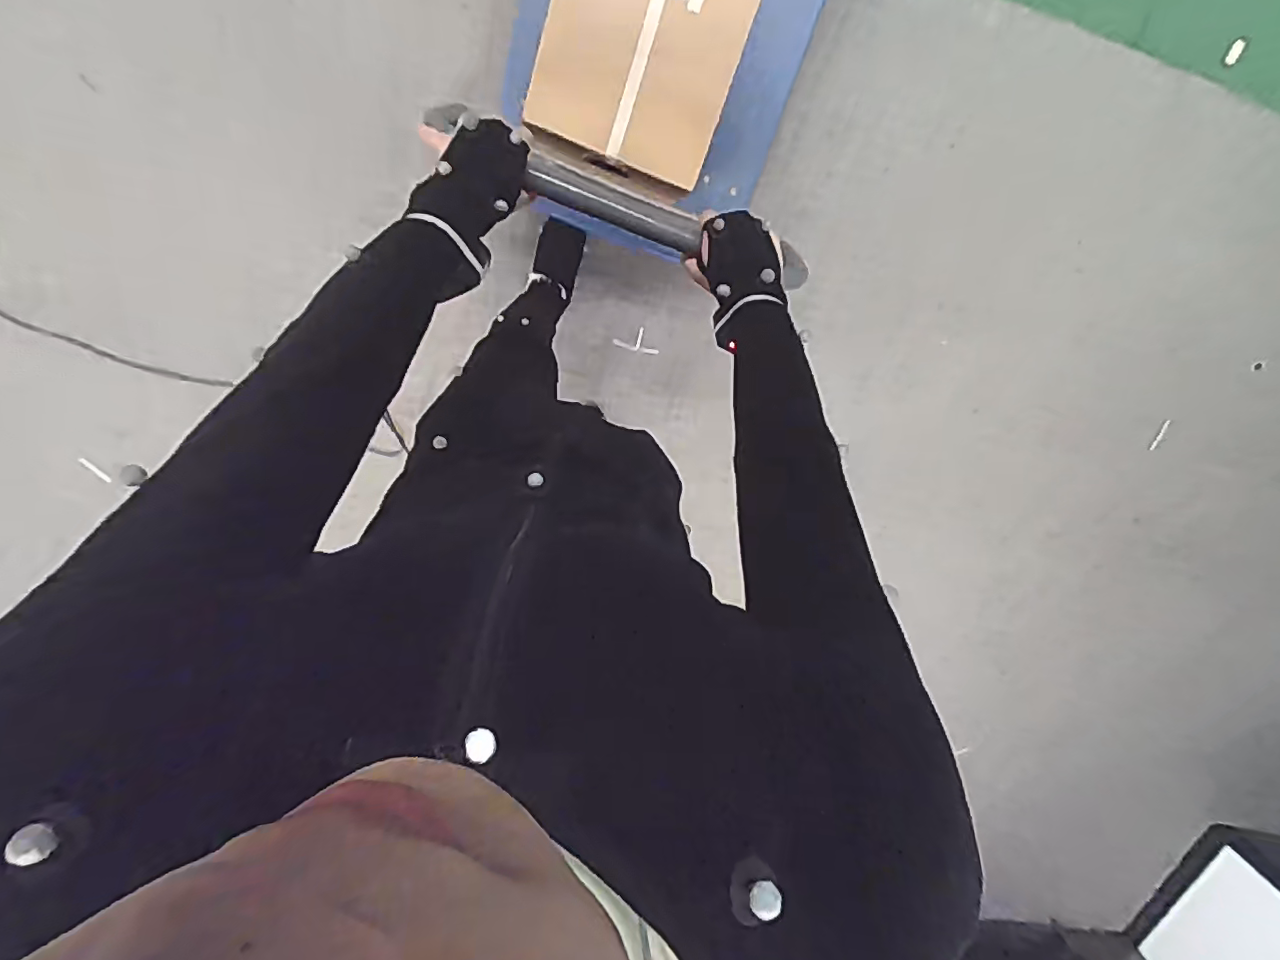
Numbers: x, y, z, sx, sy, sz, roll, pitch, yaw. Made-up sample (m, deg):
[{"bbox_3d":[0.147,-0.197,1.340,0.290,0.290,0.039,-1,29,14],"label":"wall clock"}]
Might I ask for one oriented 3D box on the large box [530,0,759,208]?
[{"bbox_3d":[0.006,-0.794,1.025,0.320,0.320,0.408,17,107,-12],"label":"large box"}]
